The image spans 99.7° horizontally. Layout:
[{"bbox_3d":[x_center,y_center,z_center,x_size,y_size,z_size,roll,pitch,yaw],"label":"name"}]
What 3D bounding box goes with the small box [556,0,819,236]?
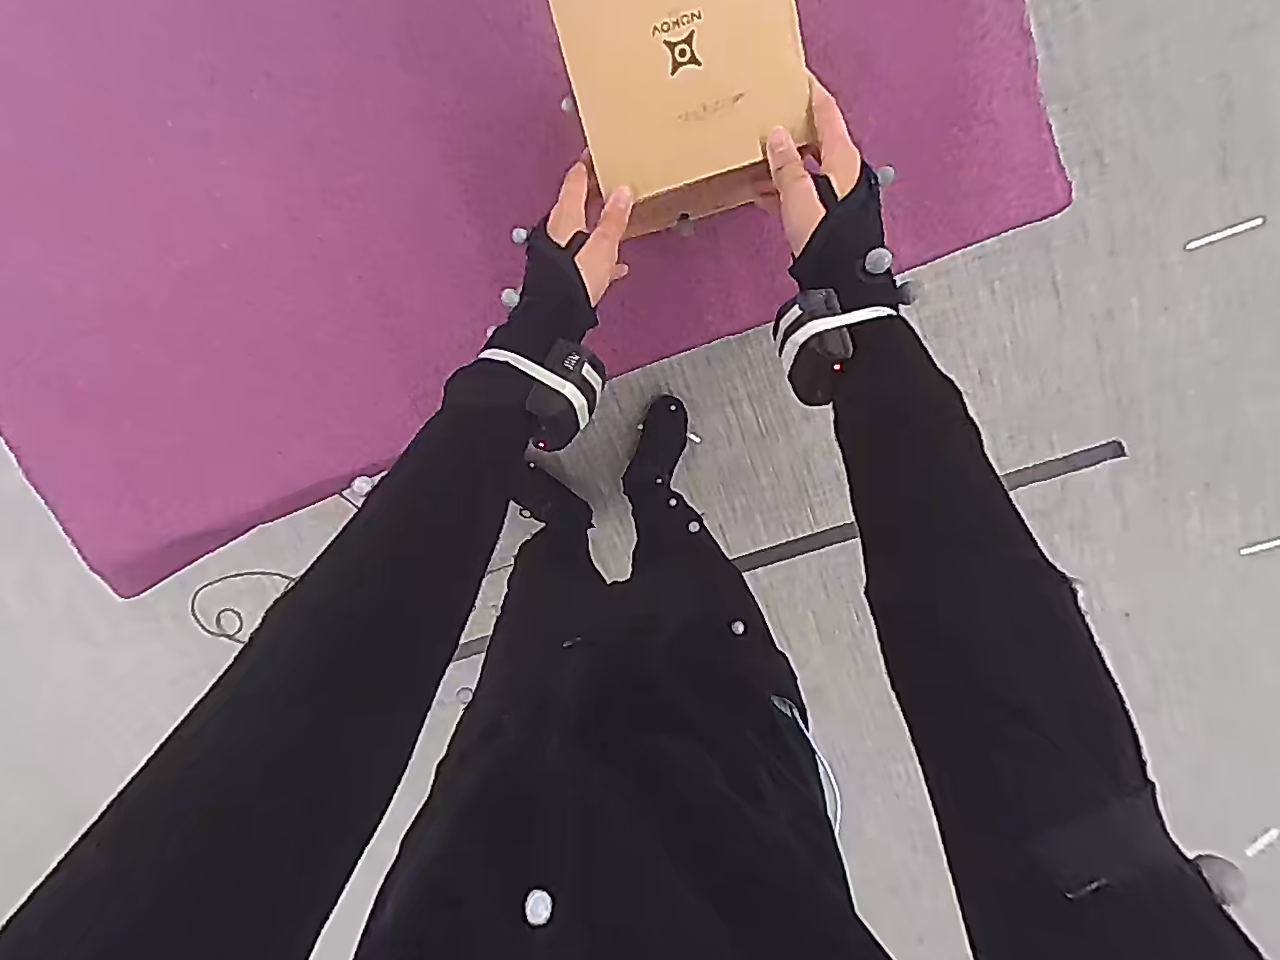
[{"bbox_3d":[0.034,-0.328,0.454,0.168,0.176,0.179,-14,105,7],"label":"small box"}]
